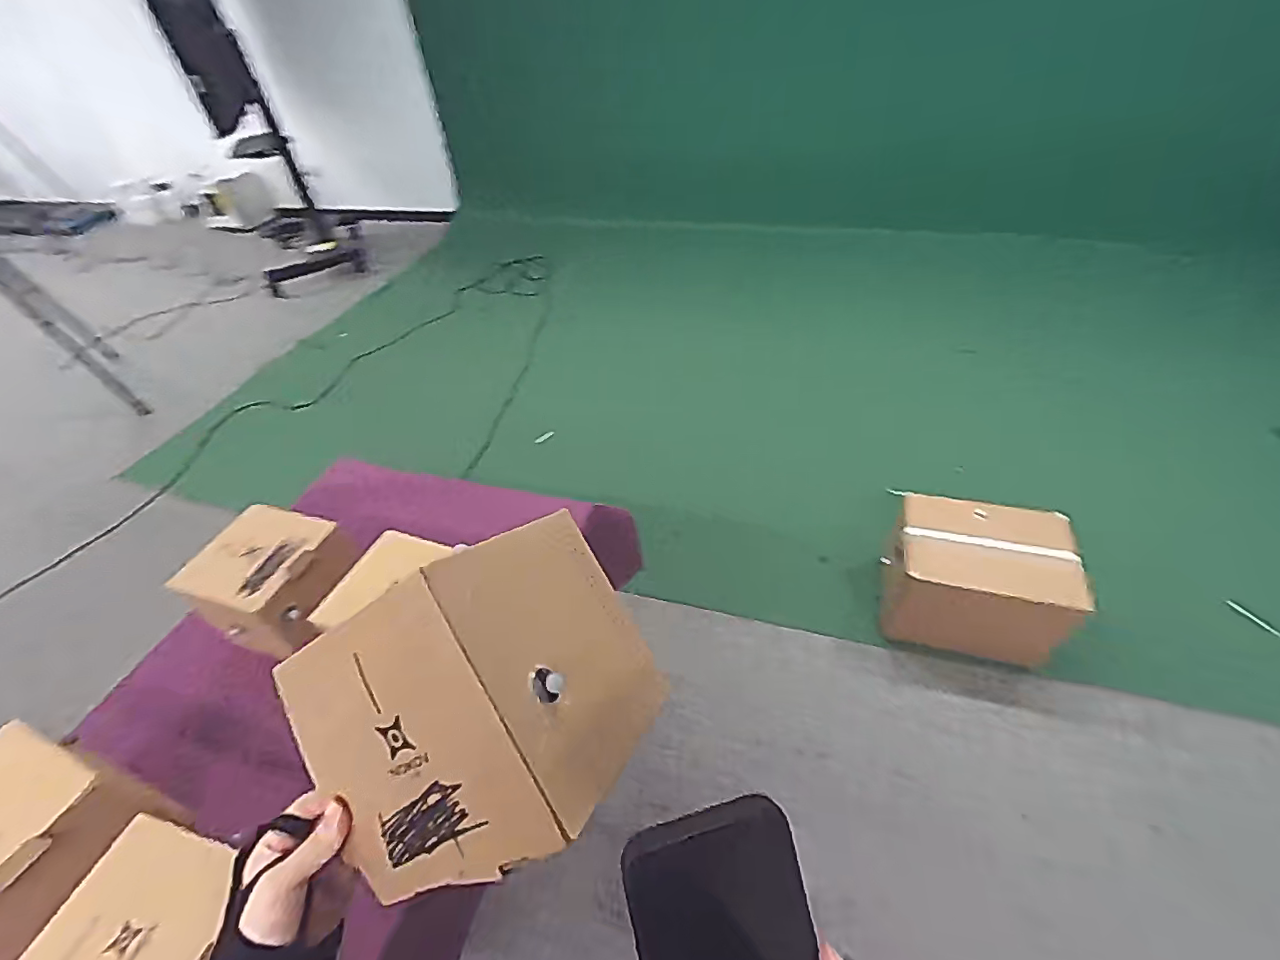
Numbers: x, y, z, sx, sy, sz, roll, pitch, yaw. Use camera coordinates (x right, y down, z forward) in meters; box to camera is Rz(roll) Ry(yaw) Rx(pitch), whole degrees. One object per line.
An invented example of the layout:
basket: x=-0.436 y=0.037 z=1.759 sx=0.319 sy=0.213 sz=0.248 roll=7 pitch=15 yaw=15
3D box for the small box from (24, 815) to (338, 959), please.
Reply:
small box: x=-0.453 y=0.473 z=0.544 sx=0.179 sy=0.176 sz=0.168 roll=8 pitch=45 yaw=15

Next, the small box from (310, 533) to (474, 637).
small box: x=-0.327 y=0.208 z=0.800 sx=0.179 sy=0.176 sz=0.168 roll=12 pitch=47 yaw=17

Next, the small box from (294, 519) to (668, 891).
small box: x=-0.104 y=0.151 z=0.407 sx=0.168 sy=0.179 sz=0.176 roll=-32 pitch=-6 yaw=24

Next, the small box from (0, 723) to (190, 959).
small box: x=-0.692 y=0.419 z=0.622 sx=0.179 sy=0.176 sz=0.168 roll=14 pitch=48 yaw=19
